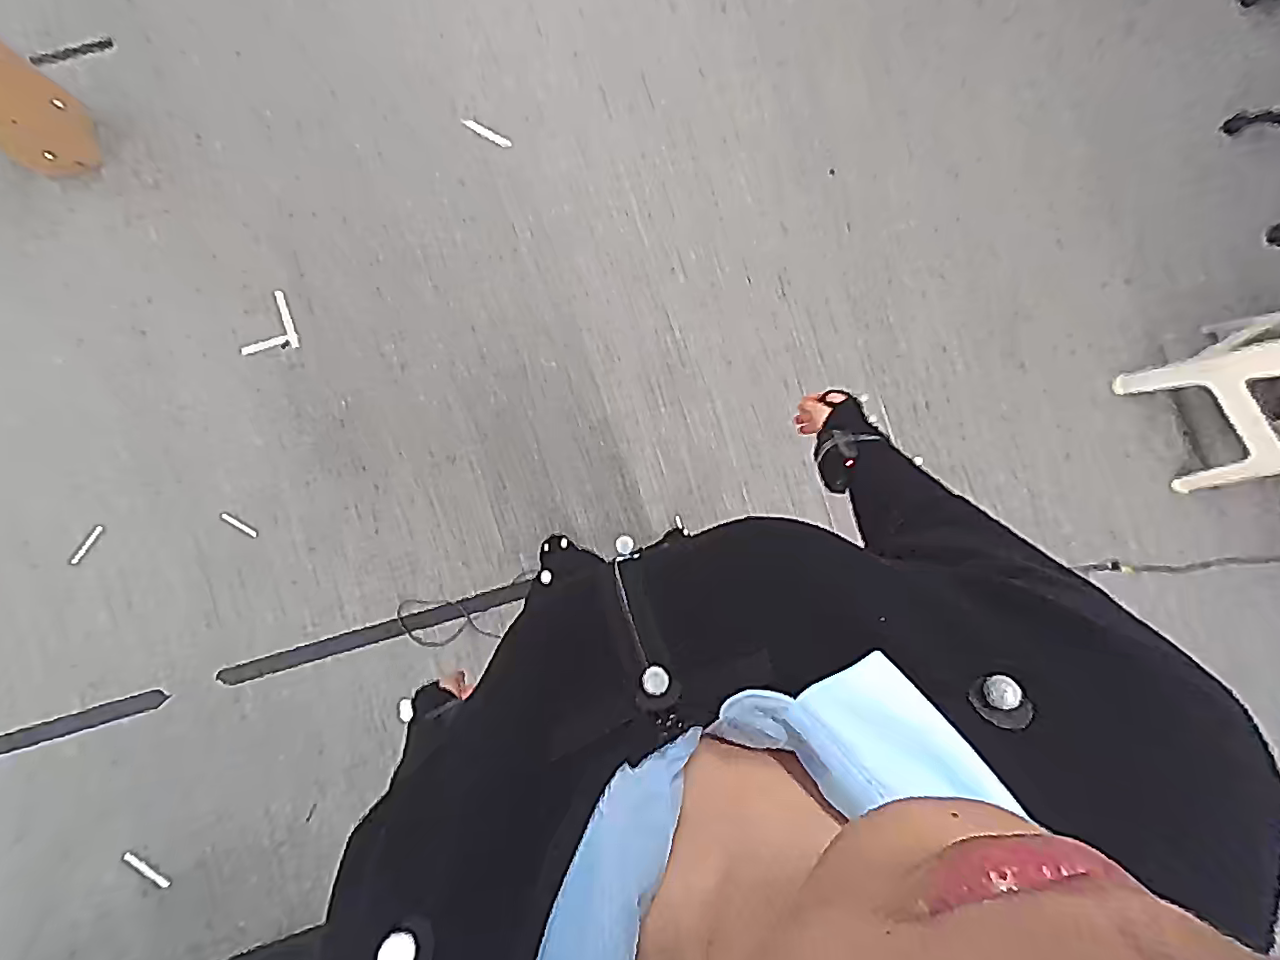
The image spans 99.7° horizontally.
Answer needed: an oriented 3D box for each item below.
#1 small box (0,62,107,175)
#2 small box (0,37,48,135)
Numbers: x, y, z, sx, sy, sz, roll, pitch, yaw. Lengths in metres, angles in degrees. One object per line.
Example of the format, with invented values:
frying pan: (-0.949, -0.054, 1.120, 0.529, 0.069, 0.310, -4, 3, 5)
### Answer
small box: (-1.601, -0.955, 1.451, 0.168, 0.176, 0.179, -21, 86, -4)
small box: (-1.594, -0.969, 1.289, 0.168, 0.176, 0.179, -20, 87, -4)
